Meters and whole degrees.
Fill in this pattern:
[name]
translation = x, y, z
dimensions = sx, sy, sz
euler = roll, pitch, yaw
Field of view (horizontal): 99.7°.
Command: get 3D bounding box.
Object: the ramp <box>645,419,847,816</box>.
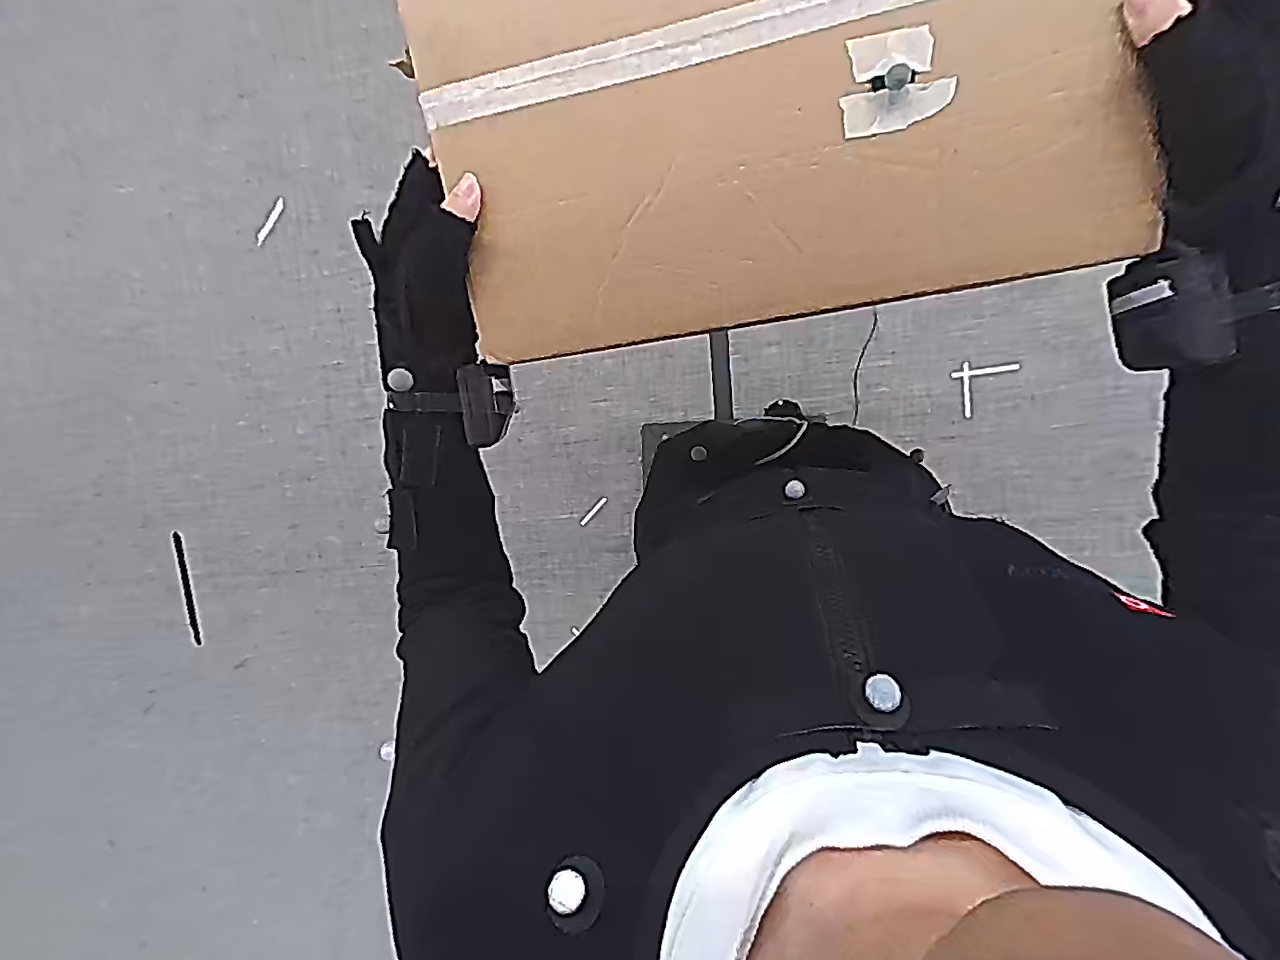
[ramp]
translation = 0.261, 0.343, 1.424
dimensions = 0.509, 0.206, 0.991
euler = -4, 95, 12

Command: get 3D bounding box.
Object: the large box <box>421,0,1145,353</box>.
[large box]
translation = 0.086, -0.302, 0.456
dimensions = 0.408, 0.320, 0.320
euler = -8, 105, 9
